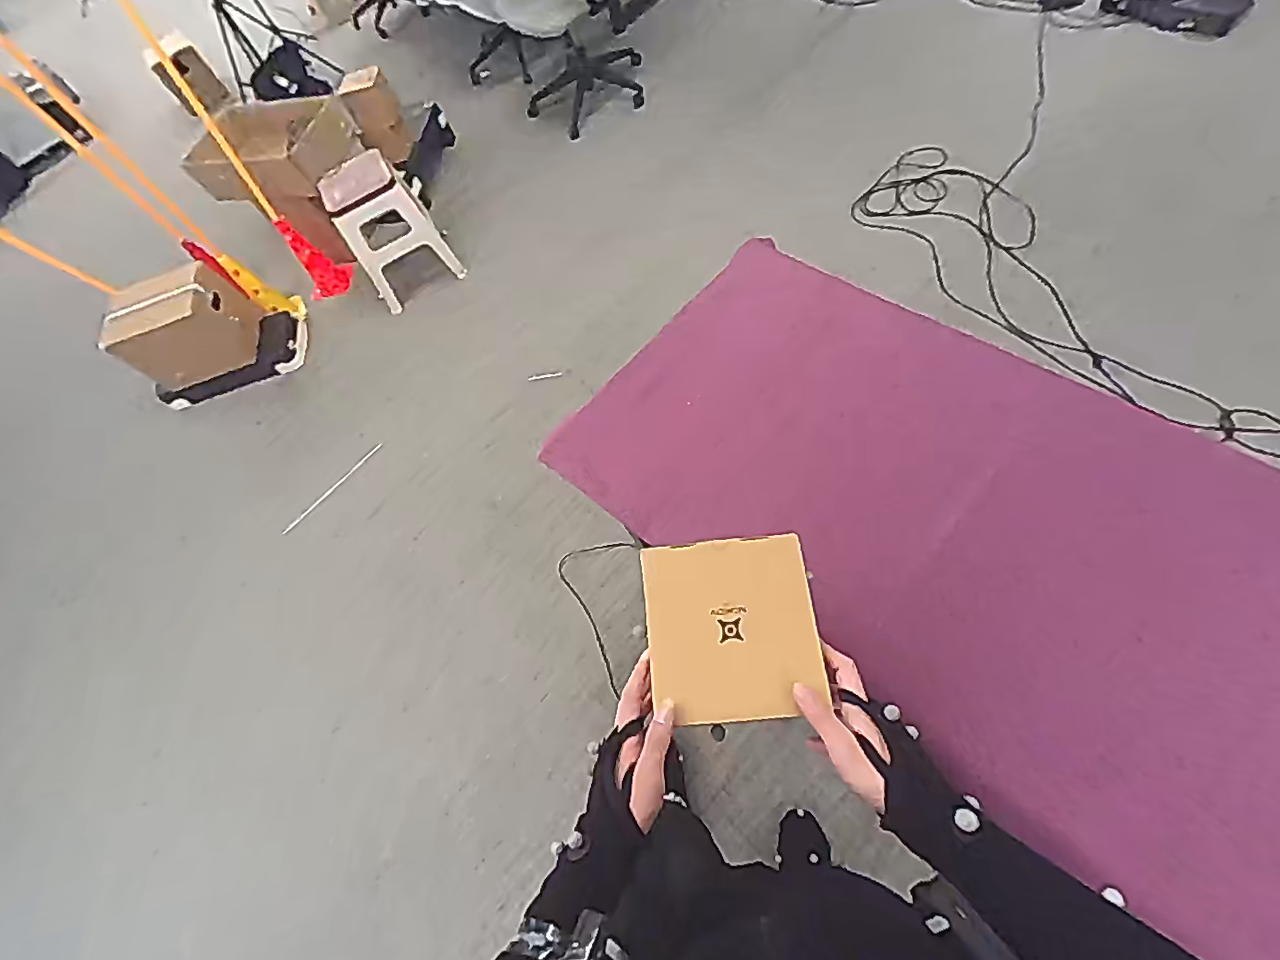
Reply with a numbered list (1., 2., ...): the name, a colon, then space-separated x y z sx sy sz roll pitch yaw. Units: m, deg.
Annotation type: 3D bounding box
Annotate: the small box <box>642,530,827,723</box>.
1. small box: 0.095 0.170 0.601 0.168 0.176 0.179 -6 64 4
